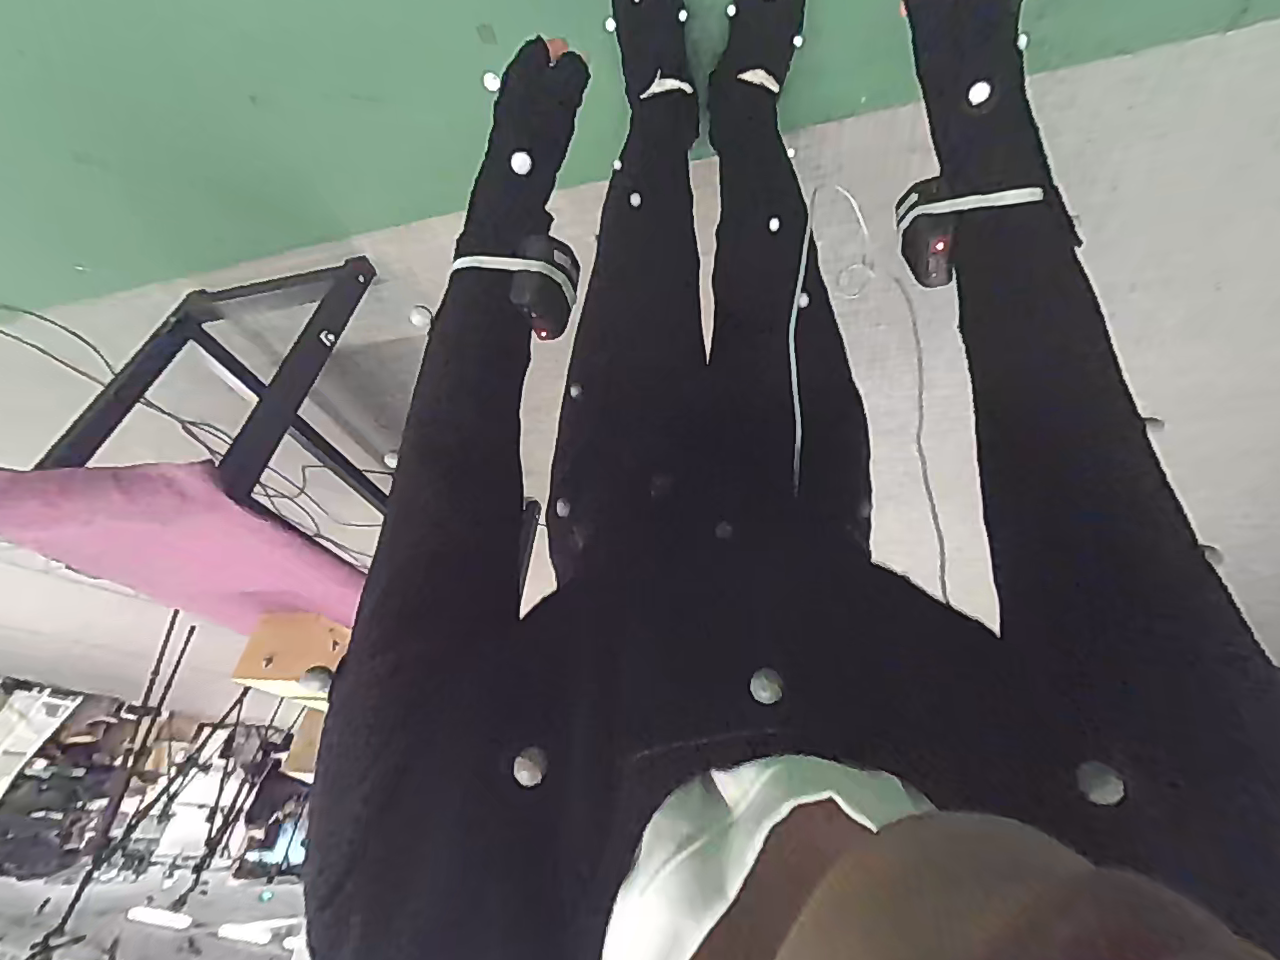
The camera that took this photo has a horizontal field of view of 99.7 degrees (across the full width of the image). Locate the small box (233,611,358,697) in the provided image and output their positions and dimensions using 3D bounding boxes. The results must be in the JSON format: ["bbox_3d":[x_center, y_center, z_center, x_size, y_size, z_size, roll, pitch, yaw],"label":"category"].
[{"bbox_3d":[-0.865,0.442,1.378,0.179,0.176,0.168,-4,144,13],"label":"small box"}]
